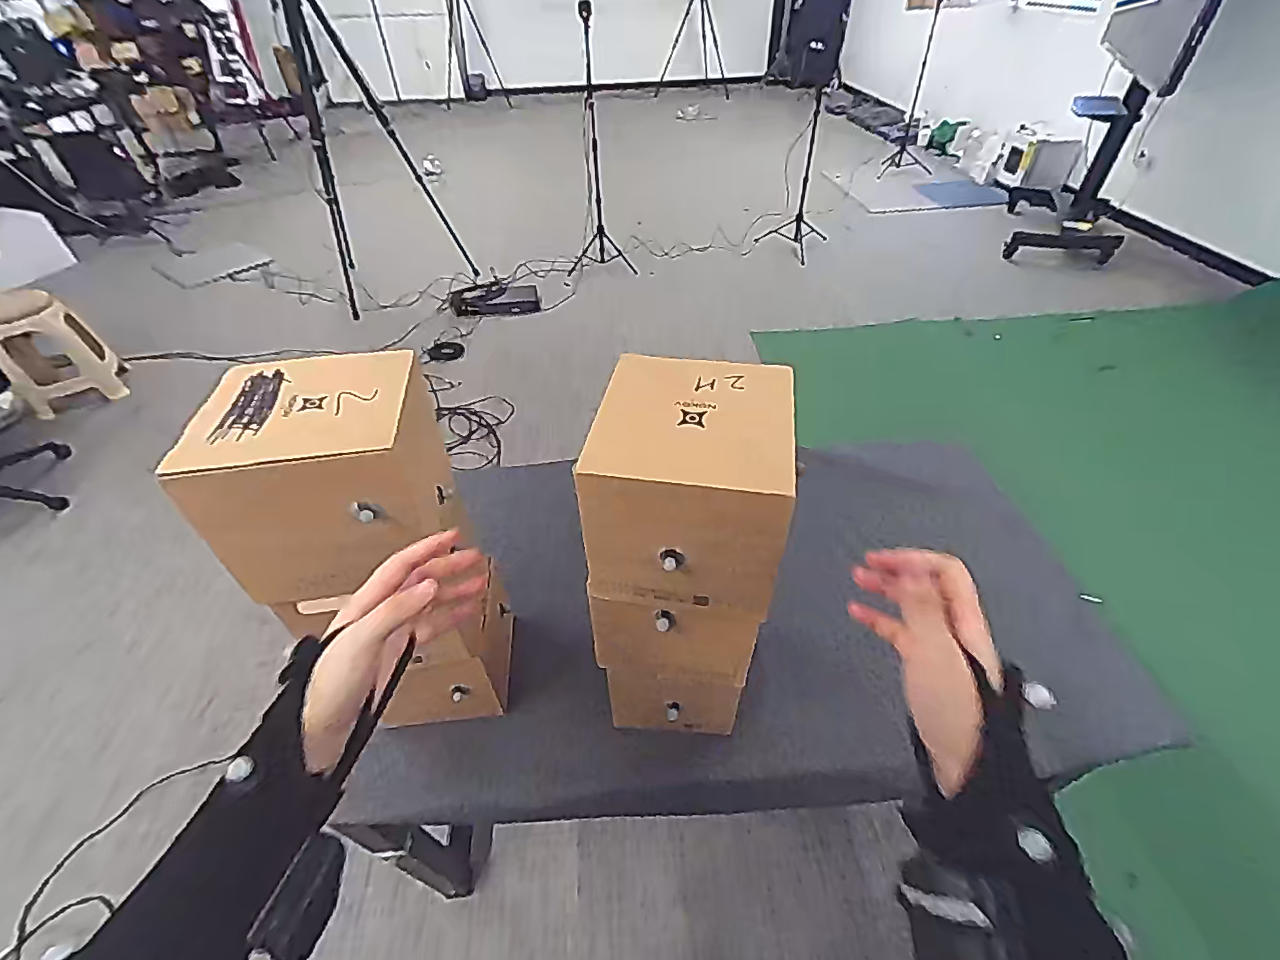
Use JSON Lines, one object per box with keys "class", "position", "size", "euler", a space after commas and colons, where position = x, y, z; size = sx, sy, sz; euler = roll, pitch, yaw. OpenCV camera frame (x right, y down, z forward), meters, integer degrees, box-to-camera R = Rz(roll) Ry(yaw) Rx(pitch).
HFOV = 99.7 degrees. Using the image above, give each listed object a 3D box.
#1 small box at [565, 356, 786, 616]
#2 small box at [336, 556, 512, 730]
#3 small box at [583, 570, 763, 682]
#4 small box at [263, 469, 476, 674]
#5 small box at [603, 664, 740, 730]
{"class": "small box", "position": [0.042, 0.005, 0.507], "size": [0.168, 0.176, 0.179], "euler": [6, 44, 9]}
{"class": "small box", "position": [-0.285, 0.231, 0.764], "size": [0.179, 0.176, 0.168], "euler": [-6, 43, -3]}
{"class": "small box", "position": [0.046, 0.115, 0.630], "size": [0.179, 0.176, 0.168], "euler": [4, 44, 9]}
{"class": "small box", "position": [-0.300, 0.114, 0.649], "size": [0.168, 0.176, 0.179], "euler": [-8, 42, -7]}
{"class": "small box", "position": [0.047, 0.227, 0.749], "size": [0.168, 0.176, 0.179], "euler": [1, 44, 4]}
